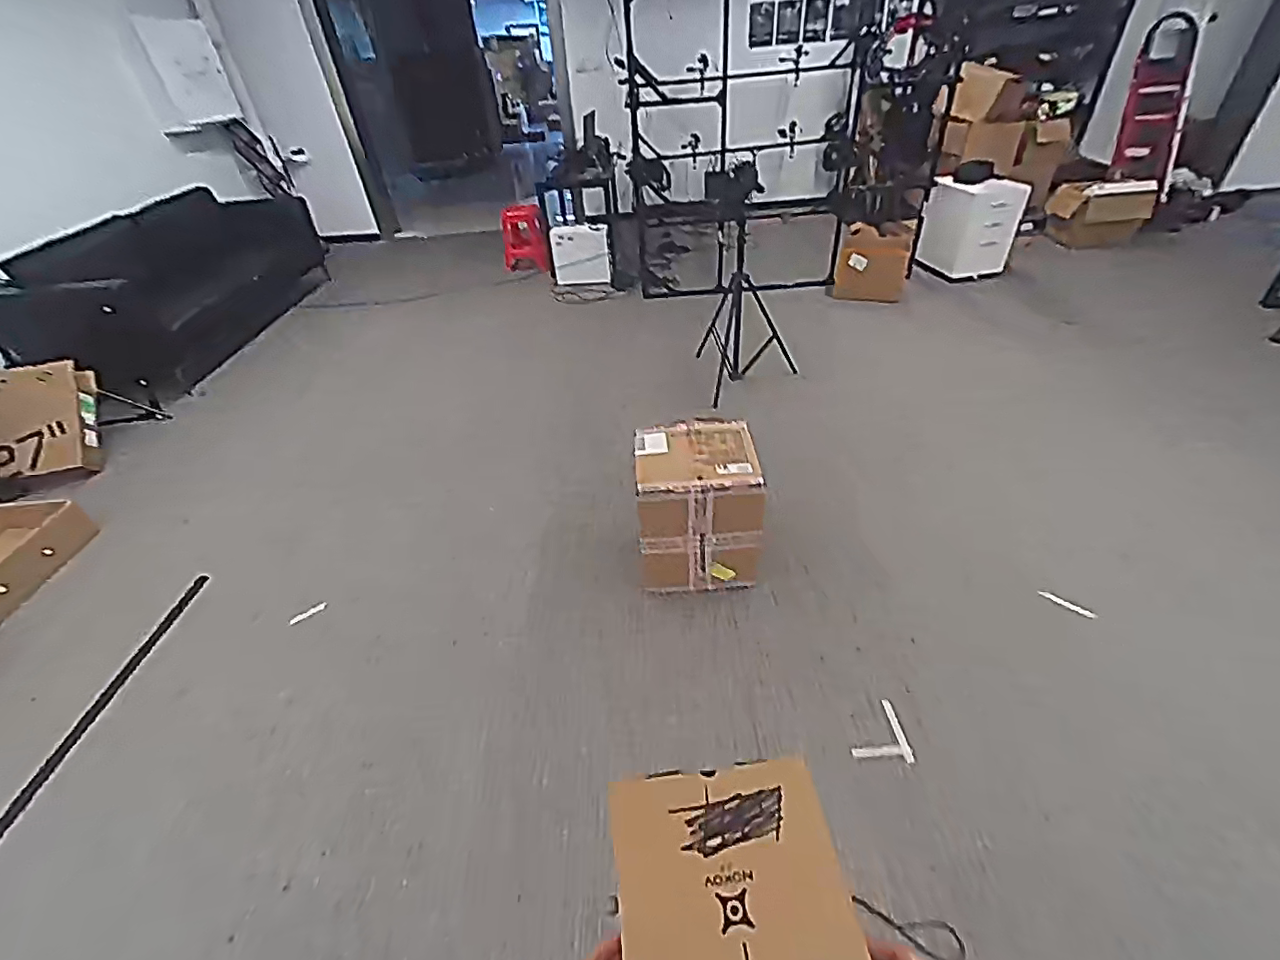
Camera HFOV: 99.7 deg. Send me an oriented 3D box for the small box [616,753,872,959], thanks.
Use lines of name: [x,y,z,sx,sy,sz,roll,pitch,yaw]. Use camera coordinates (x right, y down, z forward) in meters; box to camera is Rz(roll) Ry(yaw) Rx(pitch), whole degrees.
small box: [0.070,0.356,0.443,0.168,0.176,0.179,-6,42,-4]
